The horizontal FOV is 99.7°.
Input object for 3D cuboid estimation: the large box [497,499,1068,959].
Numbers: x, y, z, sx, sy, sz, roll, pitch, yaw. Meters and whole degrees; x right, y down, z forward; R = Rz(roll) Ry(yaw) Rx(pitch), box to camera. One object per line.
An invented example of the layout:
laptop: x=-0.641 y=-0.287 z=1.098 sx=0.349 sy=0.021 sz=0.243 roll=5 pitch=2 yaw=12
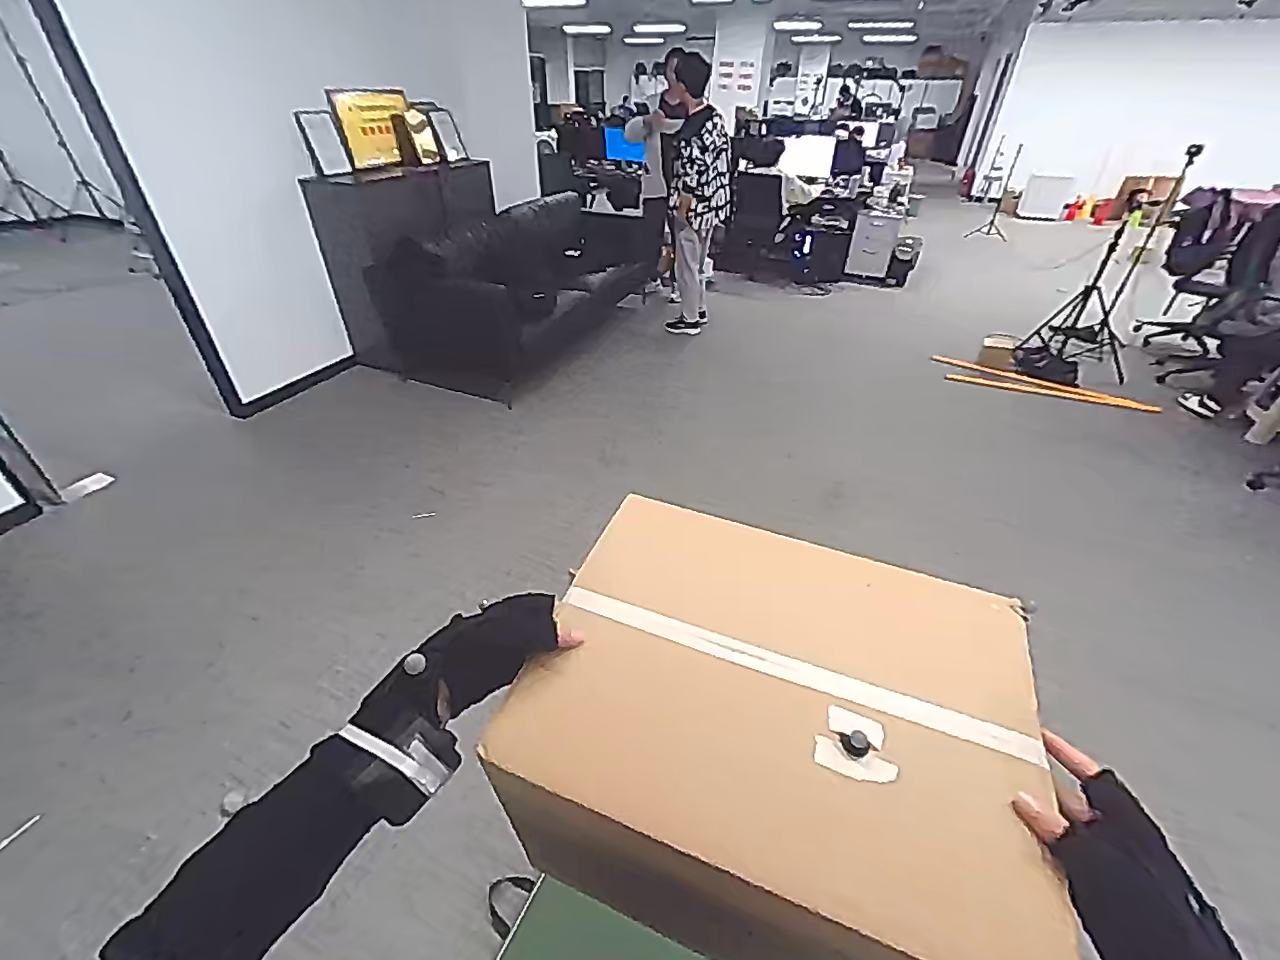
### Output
large box: x=0.119 y=0.272 z=0.573 sx=0.408 sy=0.320 sz=0.320 roll=15 pitch=44 yaw=15
